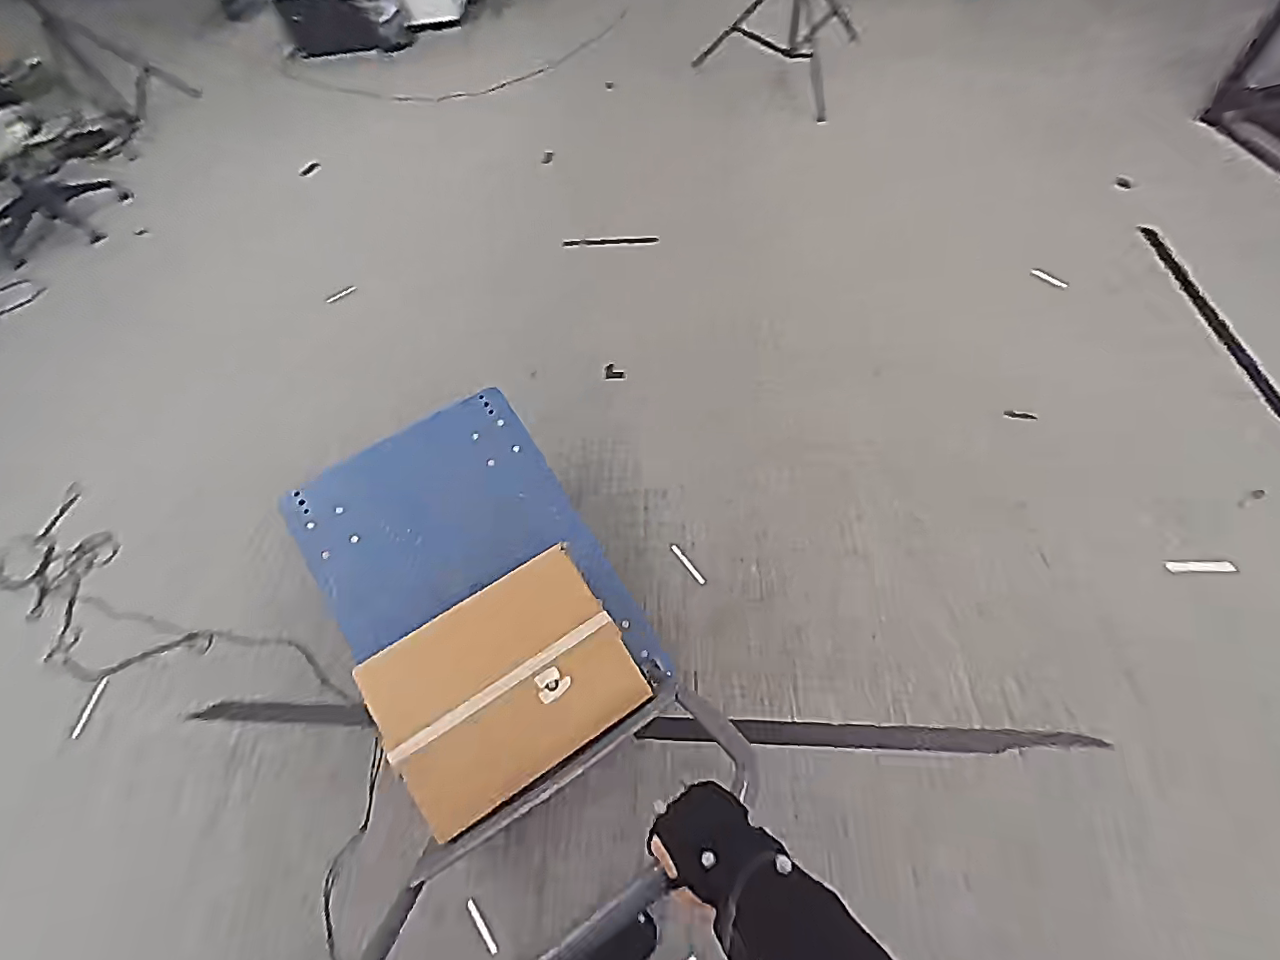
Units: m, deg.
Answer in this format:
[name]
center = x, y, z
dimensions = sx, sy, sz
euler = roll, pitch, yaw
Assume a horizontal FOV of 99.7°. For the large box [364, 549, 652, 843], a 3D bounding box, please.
[large box]
center = -0.236, 0.395, 1.066
dimensions = 0.408, 0.320, 0.320
euler = -32, 80, -14
